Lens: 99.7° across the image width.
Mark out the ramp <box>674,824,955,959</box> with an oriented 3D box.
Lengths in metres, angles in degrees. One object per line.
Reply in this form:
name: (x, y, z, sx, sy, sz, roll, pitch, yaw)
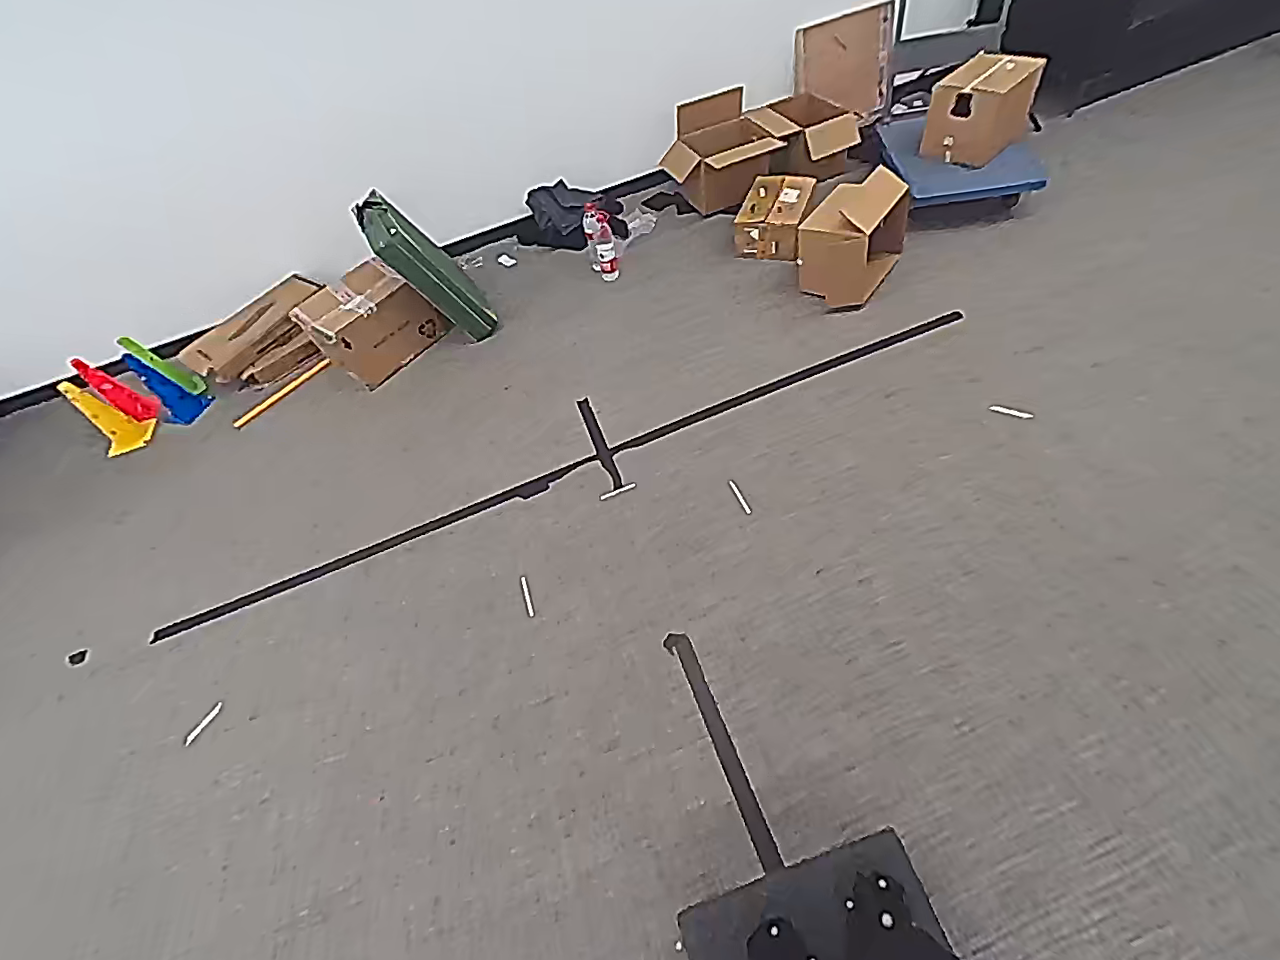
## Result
ramp: (0.458, 1.210, 0.898, 0.509, 0.206, 0.991, -21, 53, -5)
